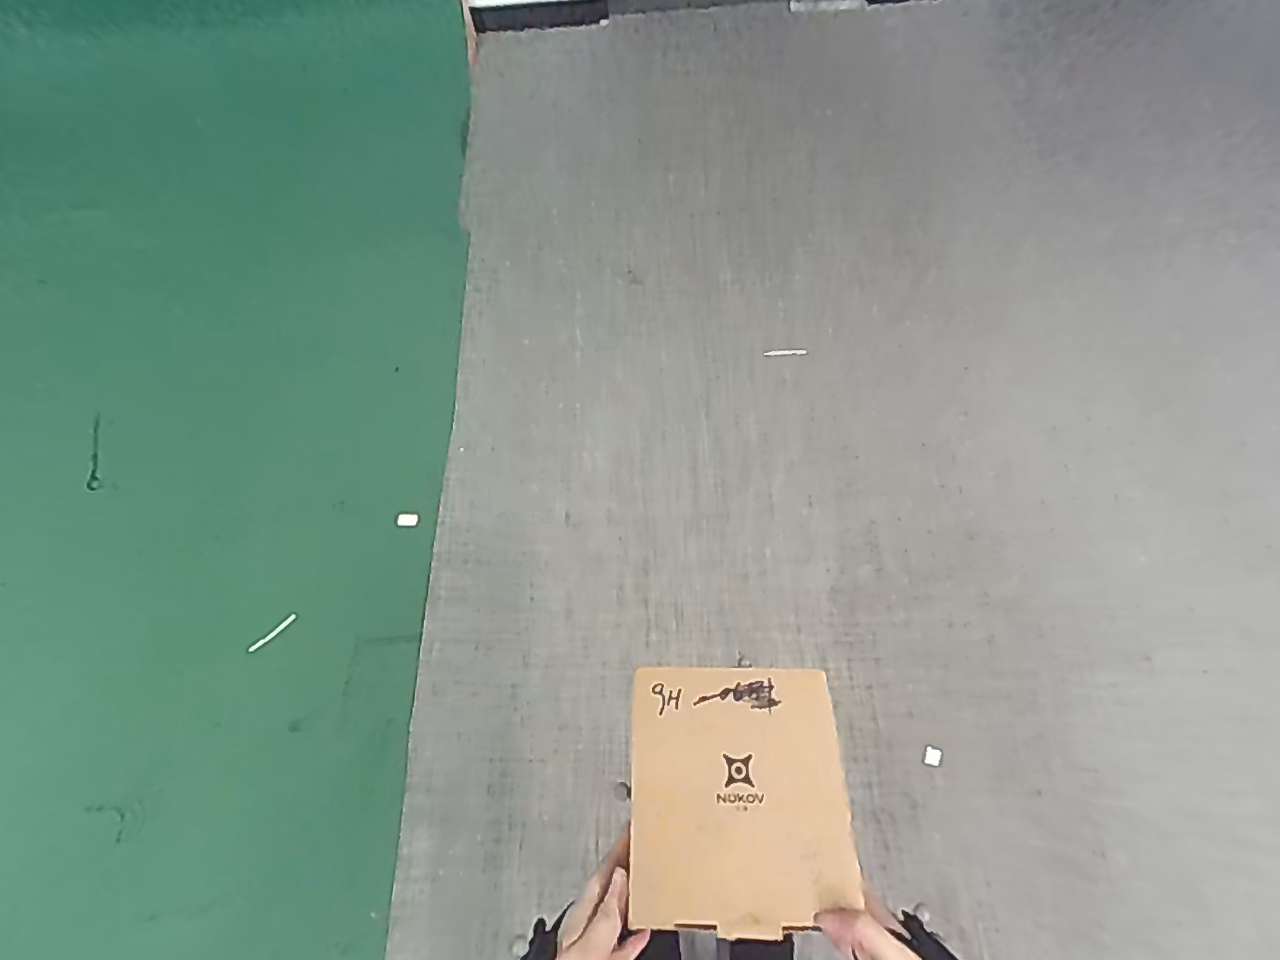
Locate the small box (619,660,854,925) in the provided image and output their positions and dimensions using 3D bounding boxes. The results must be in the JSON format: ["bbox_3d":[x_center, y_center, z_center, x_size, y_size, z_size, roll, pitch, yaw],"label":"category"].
[{"bbox_3d":[0.072,0.272,0.485,0.168,0.176,0.179,0,57,1],"label":"small box"}]
